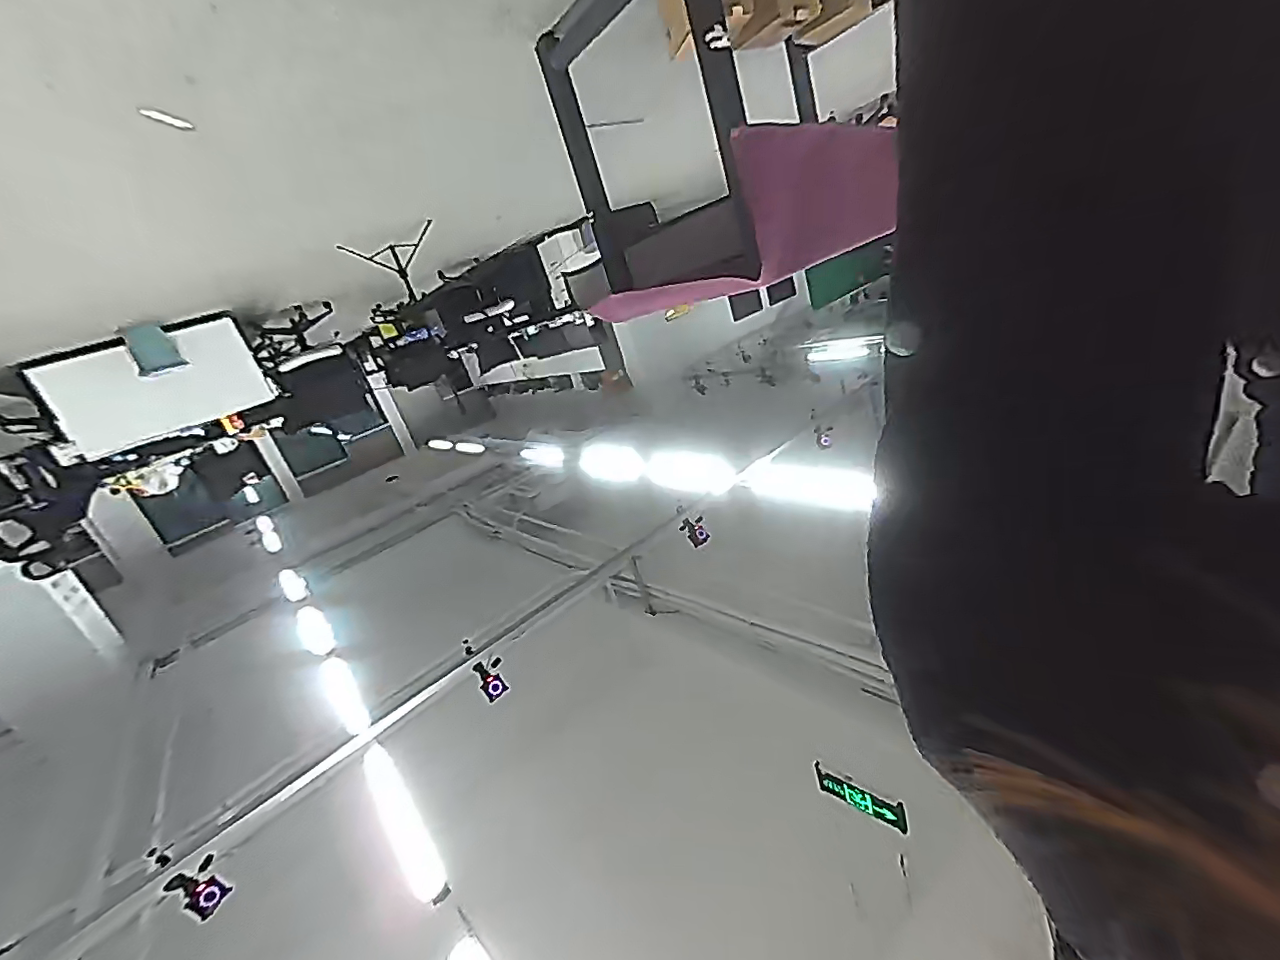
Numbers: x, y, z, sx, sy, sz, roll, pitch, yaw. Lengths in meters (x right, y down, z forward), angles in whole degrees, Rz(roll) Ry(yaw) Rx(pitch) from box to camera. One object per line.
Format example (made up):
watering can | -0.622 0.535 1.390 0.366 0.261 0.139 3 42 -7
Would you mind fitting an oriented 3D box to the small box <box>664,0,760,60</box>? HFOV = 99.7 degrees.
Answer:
small box | 0.162 -1.149 1.281 0.168 0.176 0.179 -21 -160 -4
